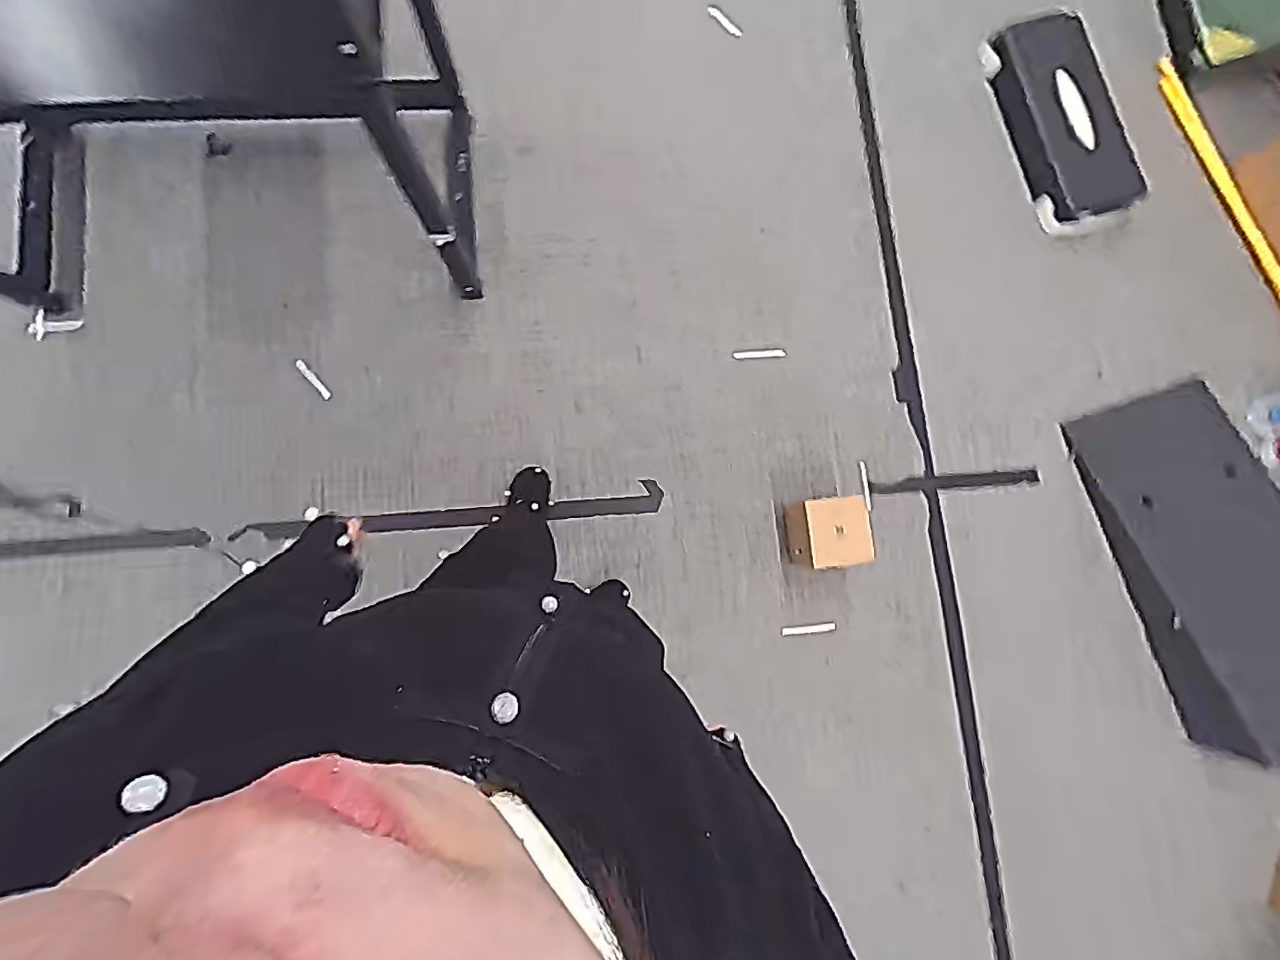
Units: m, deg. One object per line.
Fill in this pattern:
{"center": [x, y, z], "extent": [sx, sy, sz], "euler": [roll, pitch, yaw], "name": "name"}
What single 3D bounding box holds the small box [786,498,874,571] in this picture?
{"center": [0.504, 0.145, 1.457], "extent": [0.168, 0.176, 0.179], "euler": [-5, 84, -4], "name": "small box"}
